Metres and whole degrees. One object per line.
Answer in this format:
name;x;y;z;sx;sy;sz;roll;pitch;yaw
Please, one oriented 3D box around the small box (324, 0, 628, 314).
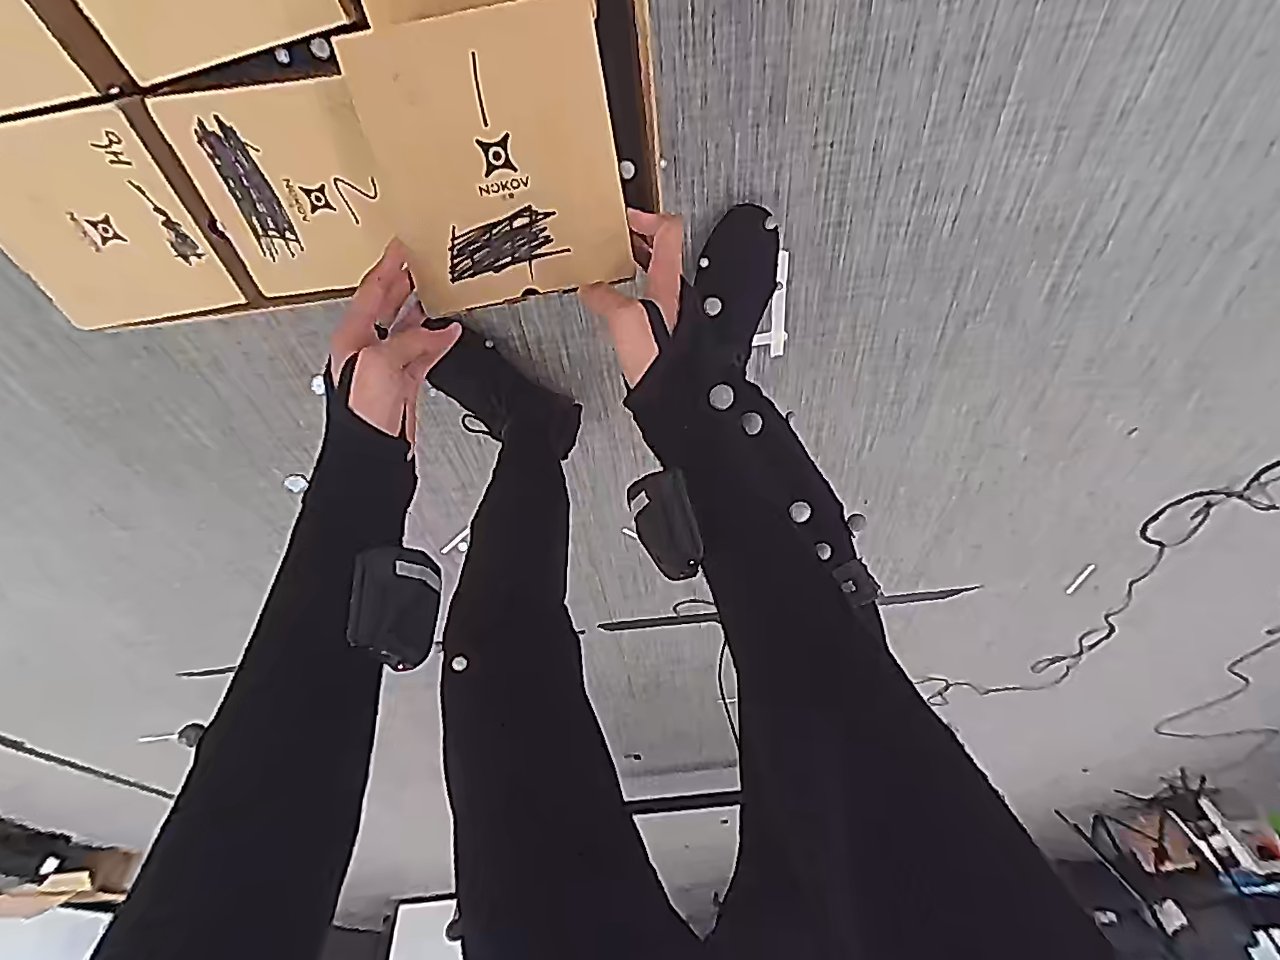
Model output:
small box;-0.104;-0.251;0.437;0.168;0.176;0.179;-11;117;1
